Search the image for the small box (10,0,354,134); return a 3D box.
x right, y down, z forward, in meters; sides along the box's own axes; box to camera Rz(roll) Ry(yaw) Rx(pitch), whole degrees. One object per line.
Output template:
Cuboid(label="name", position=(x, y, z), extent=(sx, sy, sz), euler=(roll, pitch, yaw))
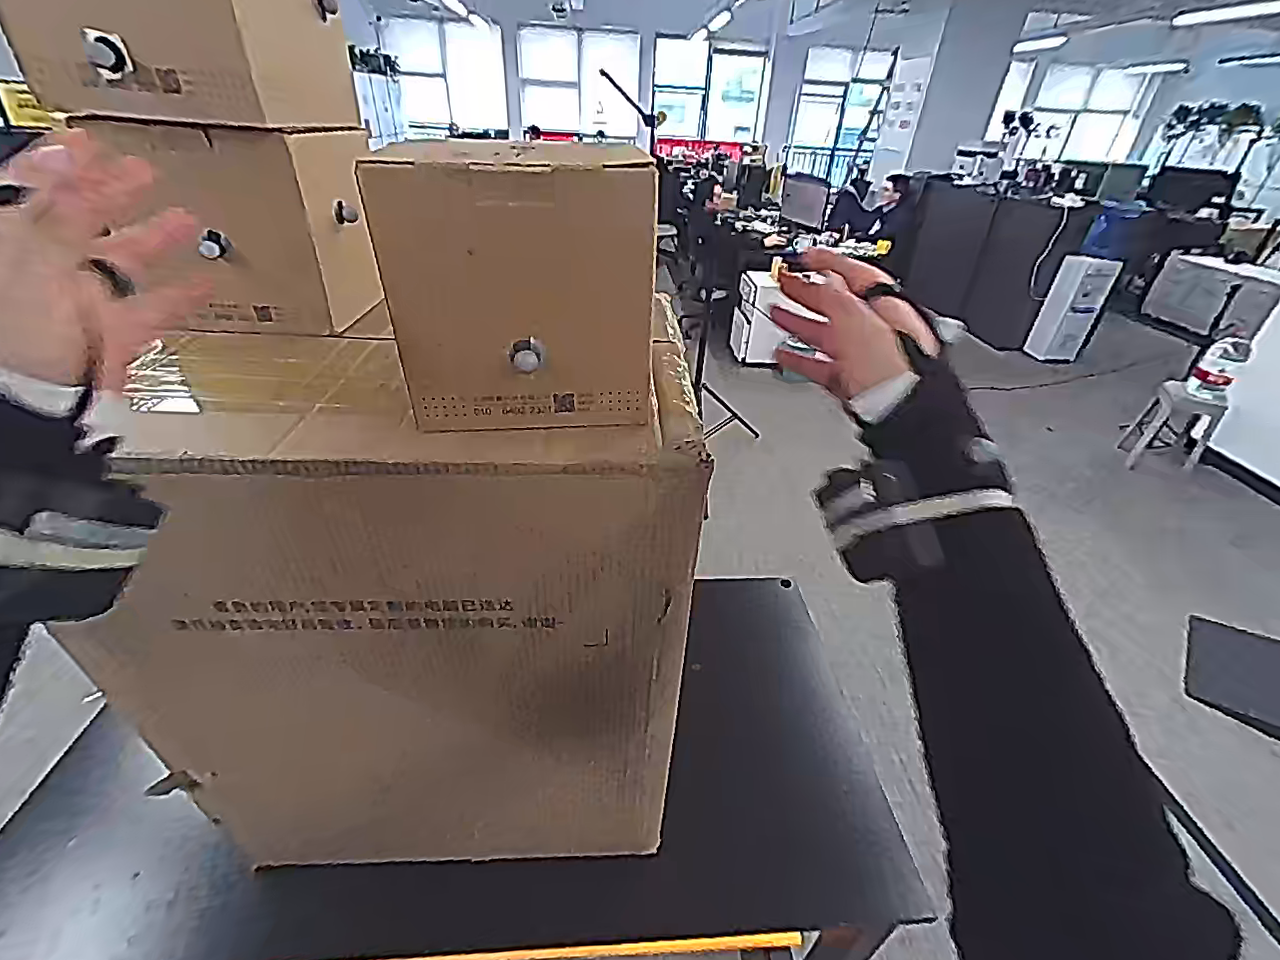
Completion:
Cuboid(label="small box", position=(-0.351, -0.379, 0.426), extent=(0.168, 0.176, 0.179), euler=(1, 34, -3))

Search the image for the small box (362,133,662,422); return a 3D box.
Cuboid(label="small box", position=(-0.079, -0.156, 0.407), extent=(0.168, 0.176, 0.179), euler=(-3, 35, -6))

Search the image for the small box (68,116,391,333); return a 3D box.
Cuboid(label="small box", position=(-0.363, -0.251, 0.529), extent=(0.168, 0.176, 0.179), euler=(1, 34, -5))
